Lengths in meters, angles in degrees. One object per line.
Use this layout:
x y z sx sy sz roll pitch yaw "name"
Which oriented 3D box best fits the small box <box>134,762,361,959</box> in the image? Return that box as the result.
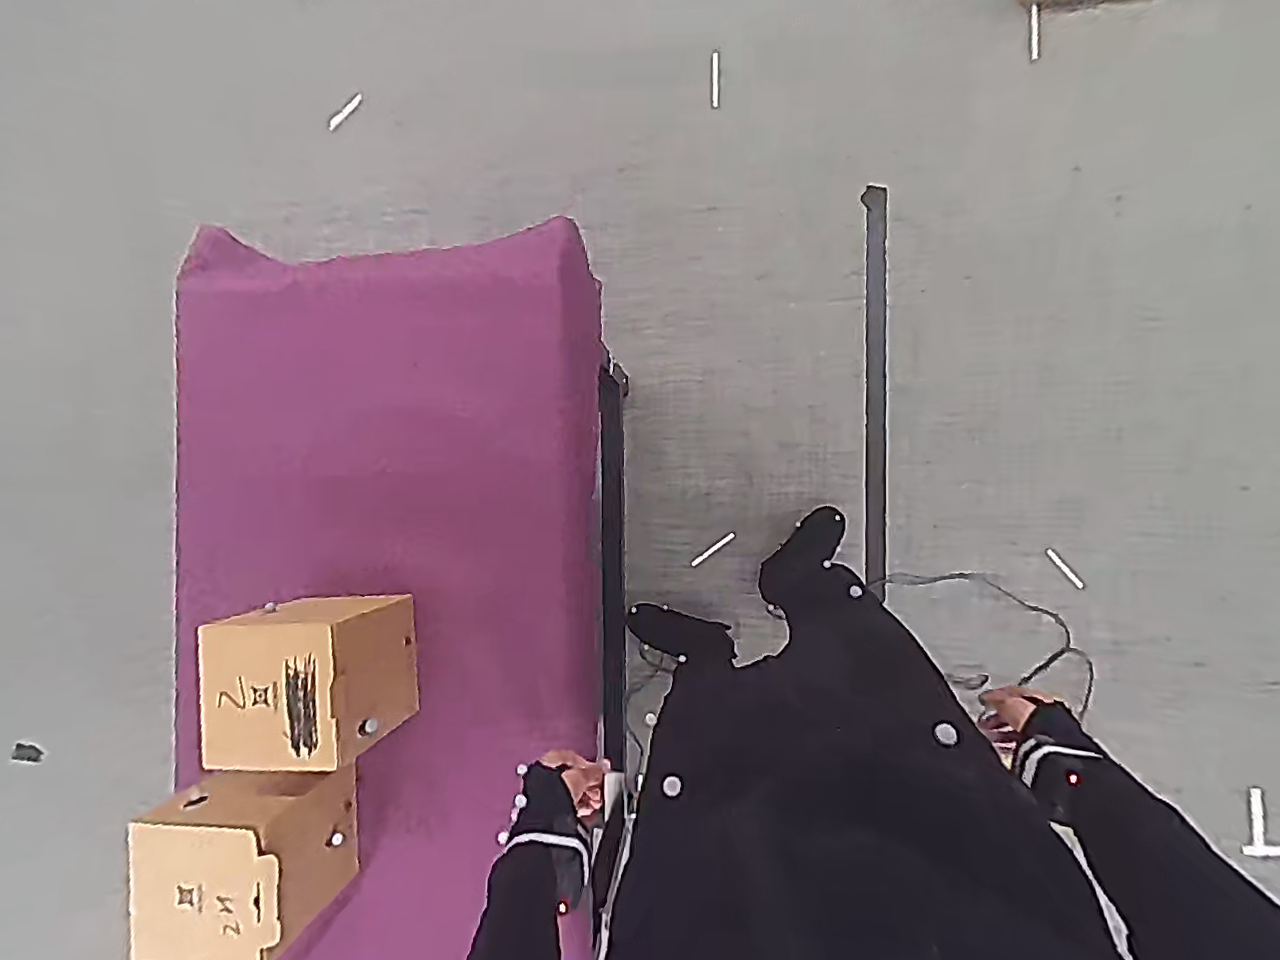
-0.494 0.488 0.699 0.179 0.176 0.168 -3 88 7 "small box"
